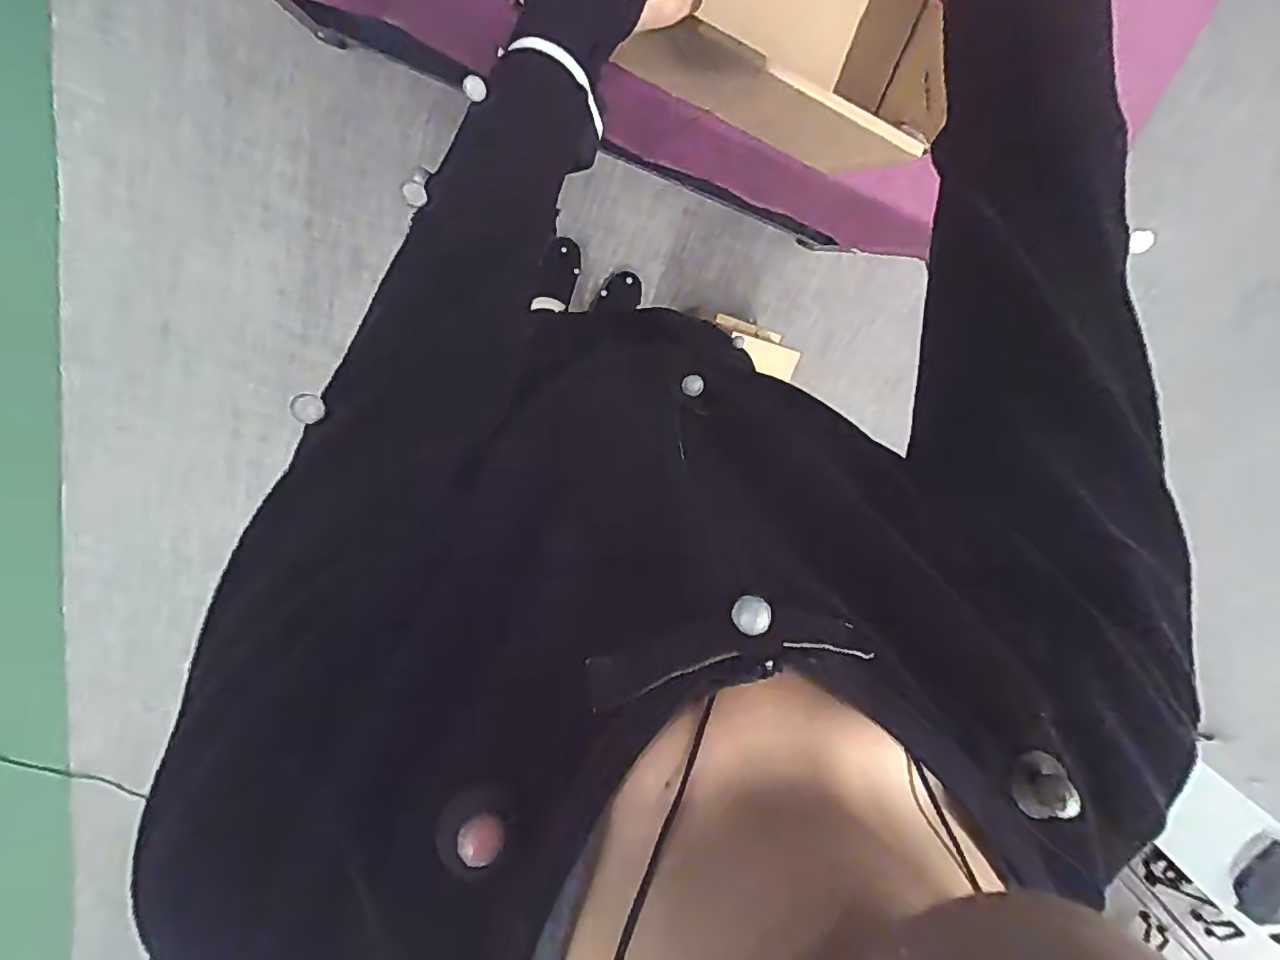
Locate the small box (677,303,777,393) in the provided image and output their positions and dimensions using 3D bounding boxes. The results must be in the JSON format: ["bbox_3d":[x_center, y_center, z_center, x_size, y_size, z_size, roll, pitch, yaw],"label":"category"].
[{"bbox_3d":[0.215,-0.344,1.390,0.179,0.176,0.168,14,111,-15],"label":"small box"}]
